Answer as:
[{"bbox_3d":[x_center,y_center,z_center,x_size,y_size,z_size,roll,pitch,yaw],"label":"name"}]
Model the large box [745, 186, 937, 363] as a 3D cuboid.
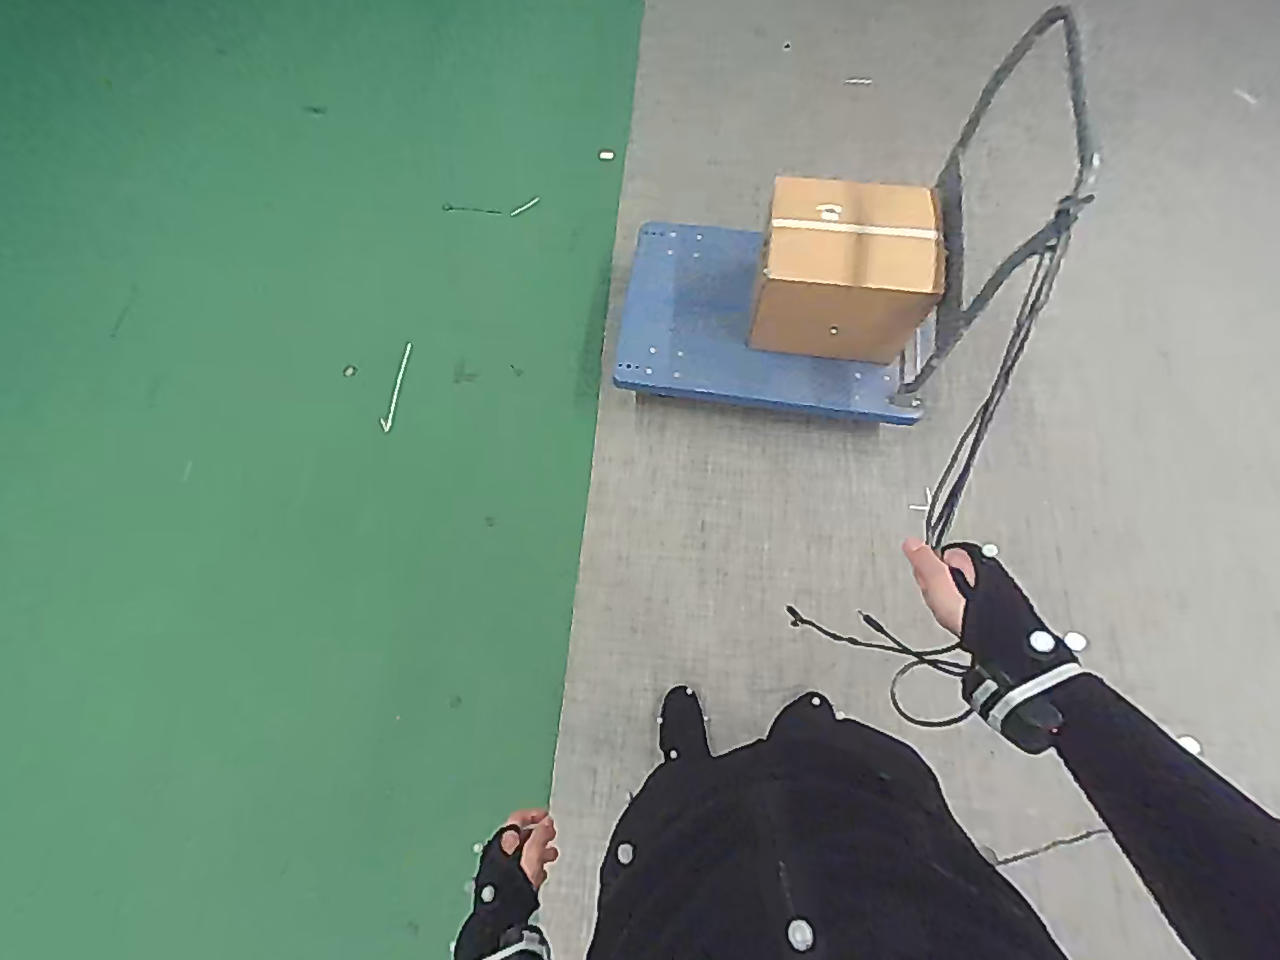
[{"bbox_3d":[0.508,-0.531,1.433,0.408,0.320,0.320,6,71,6],"label":"large box"}]
